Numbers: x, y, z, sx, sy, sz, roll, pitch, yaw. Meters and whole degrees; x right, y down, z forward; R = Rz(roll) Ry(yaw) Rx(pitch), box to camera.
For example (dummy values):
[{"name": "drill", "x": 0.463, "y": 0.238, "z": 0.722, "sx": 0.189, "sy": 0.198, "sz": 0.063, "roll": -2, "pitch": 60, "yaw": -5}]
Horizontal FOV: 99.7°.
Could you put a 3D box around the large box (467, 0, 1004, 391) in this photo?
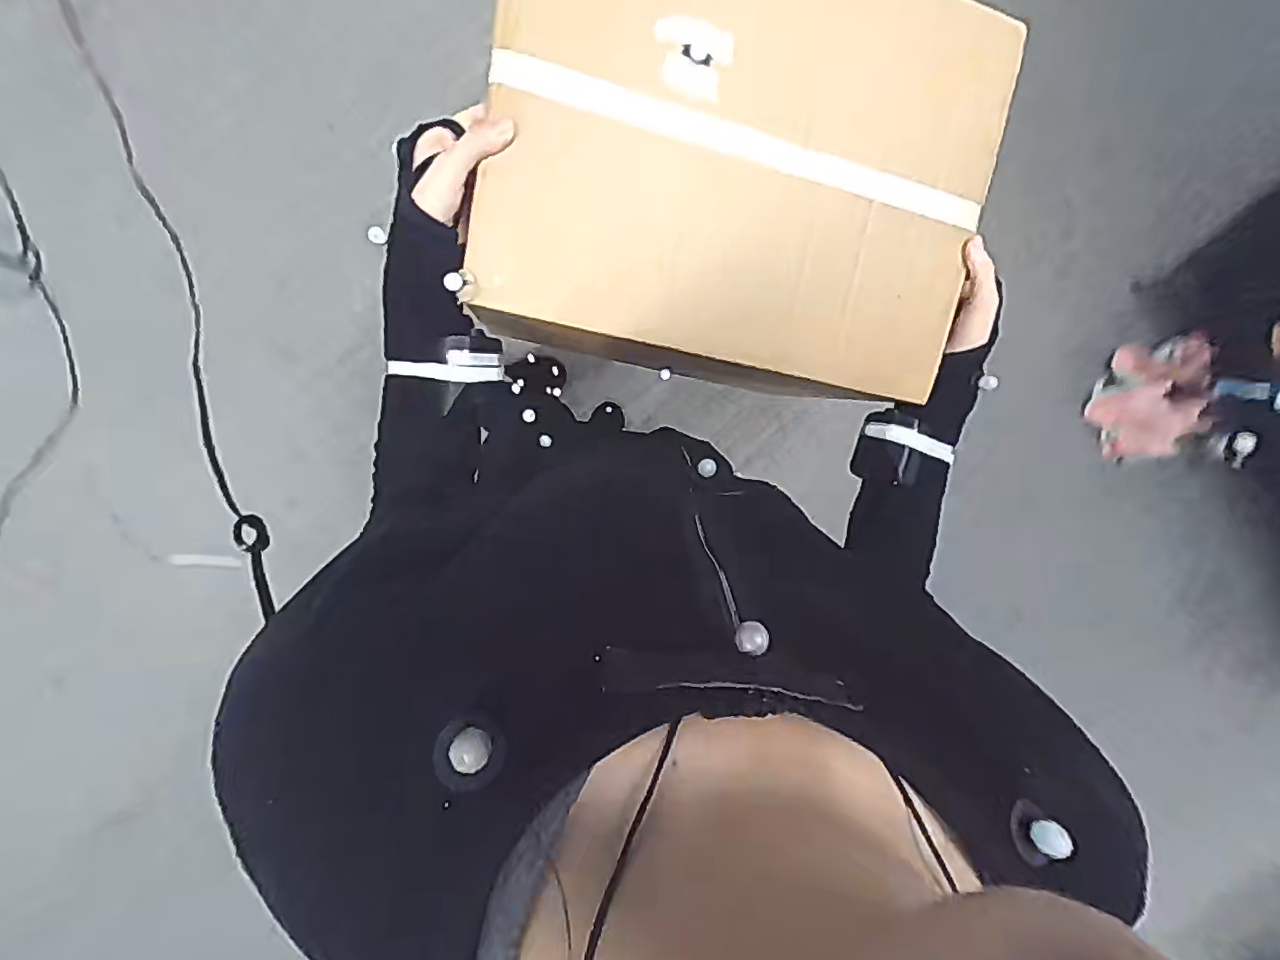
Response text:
[{"name": "large box", "x": 0.059, "y": -0.285, "z": 0.574, "sx": 0.408, "sy": 0.320, "sz": 0.320, "roll": 9, "pitch": 99, "yaw": -12}]
